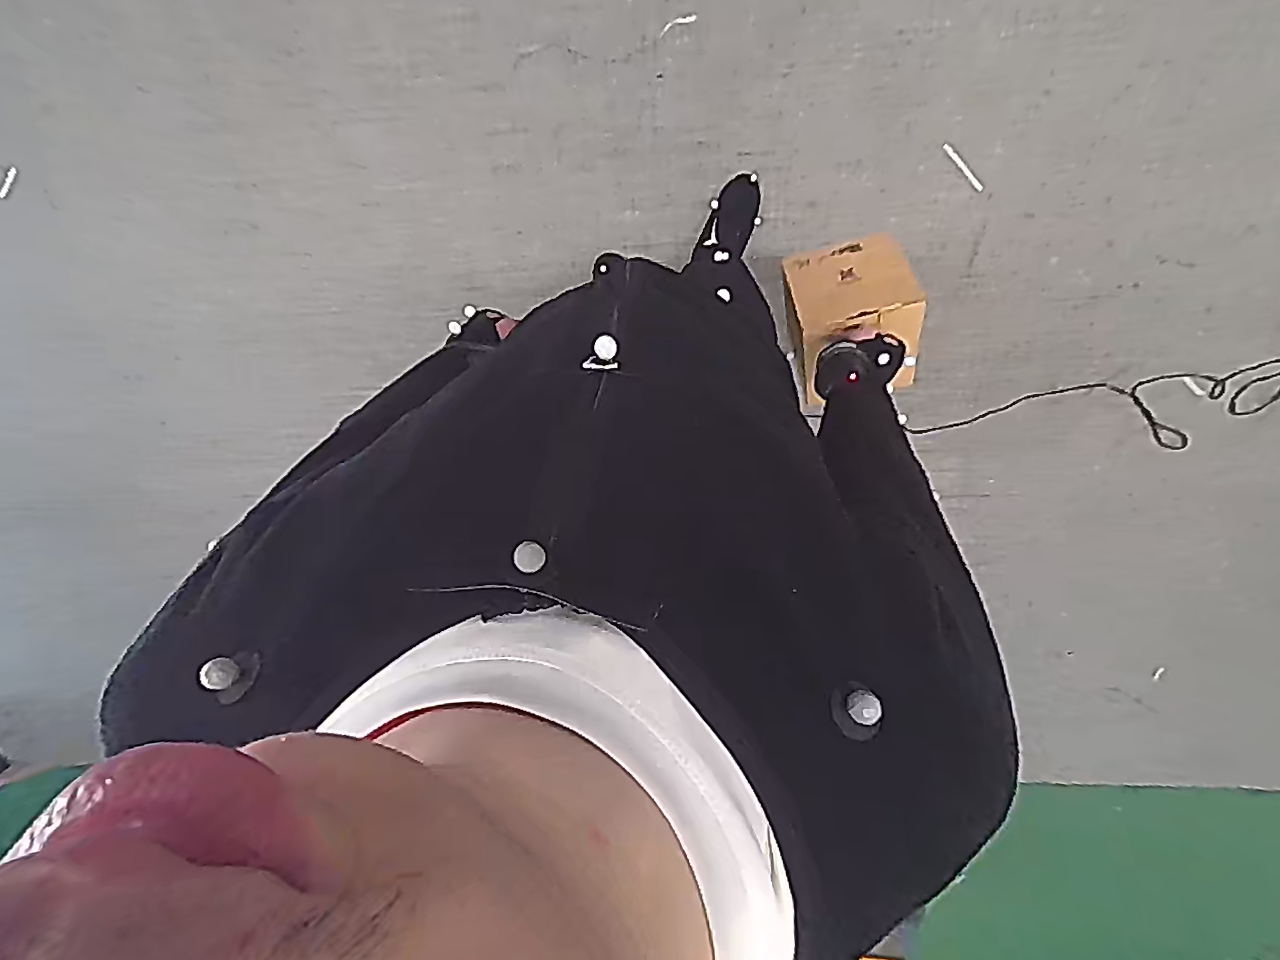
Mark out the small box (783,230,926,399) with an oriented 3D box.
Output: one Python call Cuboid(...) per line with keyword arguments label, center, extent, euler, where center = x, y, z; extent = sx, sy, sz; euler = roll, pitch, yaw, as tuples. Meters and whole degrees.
Cuboid(label="small box", center=(0.335, -0.249, 0.858), extent=(0.168, 0.179, 0.176), euler=(-14, 144, 14))
